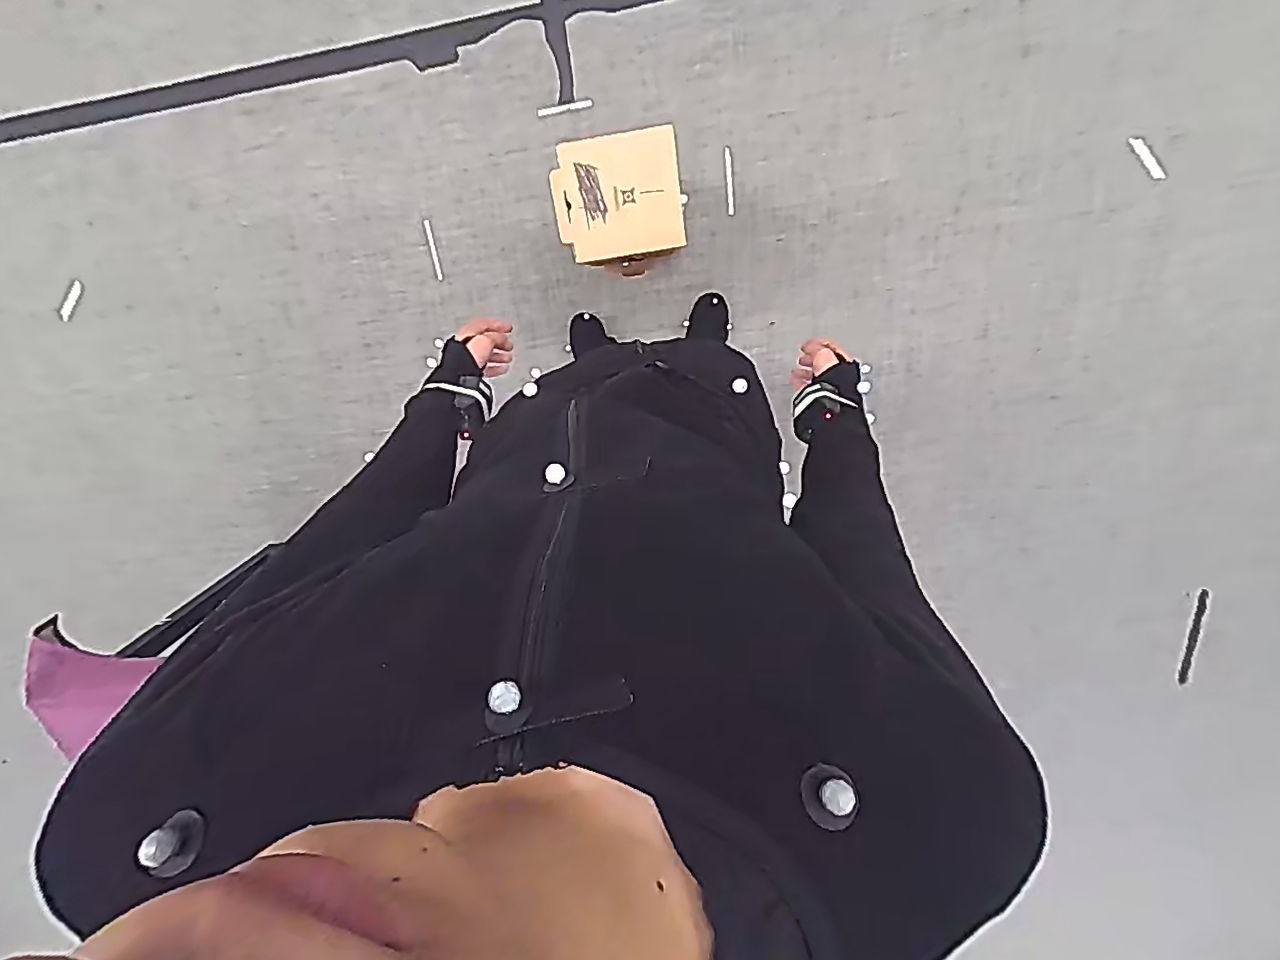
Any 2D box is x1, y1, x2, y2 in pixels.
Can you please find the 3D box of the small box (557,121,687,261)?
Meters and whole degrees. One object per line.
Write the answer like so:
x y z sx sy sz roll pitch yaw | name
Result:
-0.021 -0.455 0.878 0.179 0.176 0.168 -8 111 4 | small box
